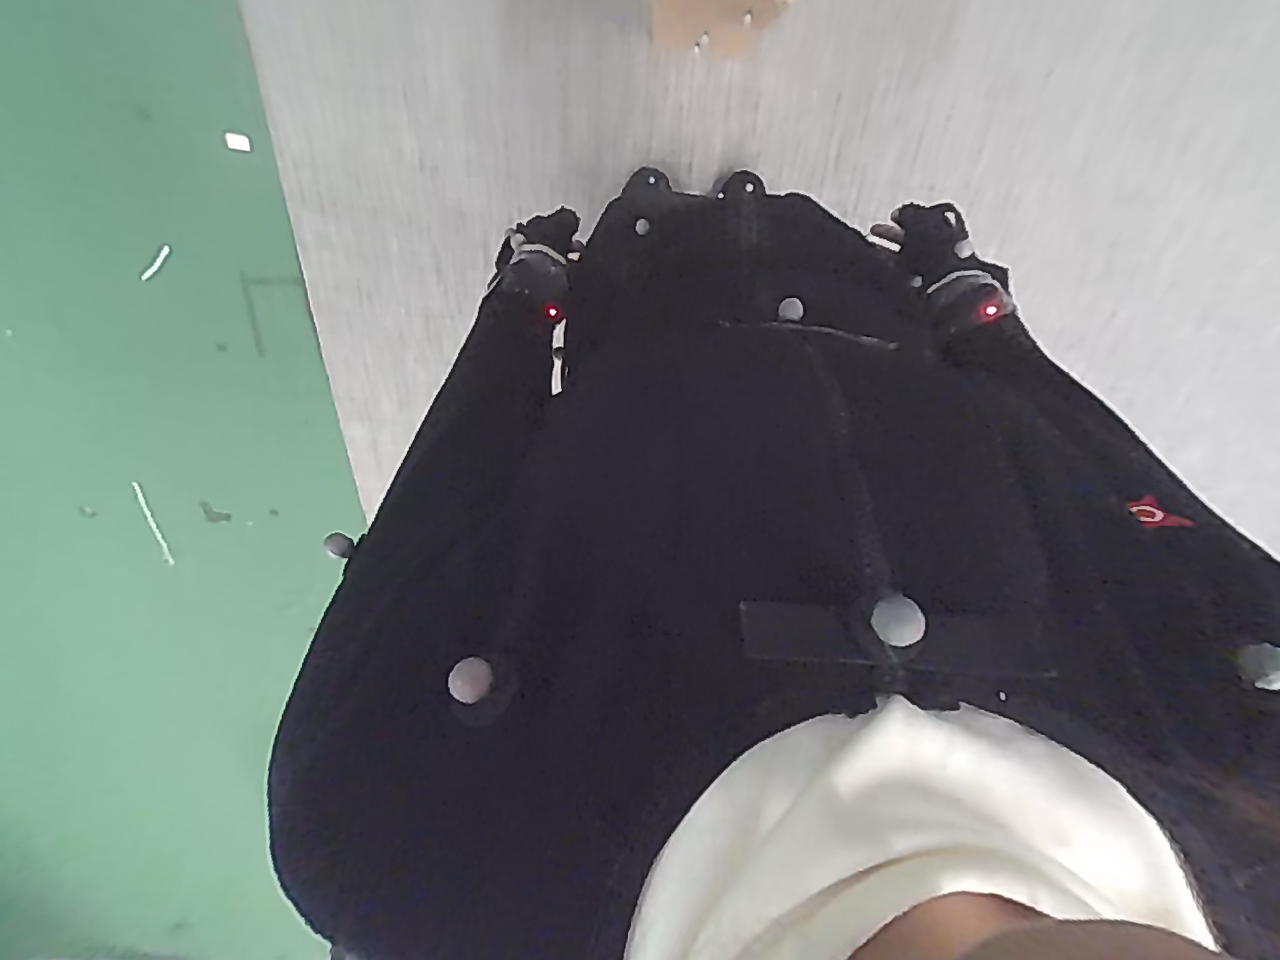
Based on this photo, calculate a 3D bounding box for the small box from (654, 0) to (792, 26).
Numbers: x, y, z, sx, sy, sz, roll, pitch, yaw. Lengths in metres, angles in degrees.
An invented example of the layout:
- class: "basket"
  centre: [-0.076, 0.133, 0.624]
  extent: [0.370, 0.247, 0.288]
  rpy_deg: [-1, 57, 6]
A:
- class: "small box"
  centre: [0.113, -0.698, 0.676]
  extent: [0.179, 0.176, 0.168]
  rpy_deg: [8, 120, -2]
